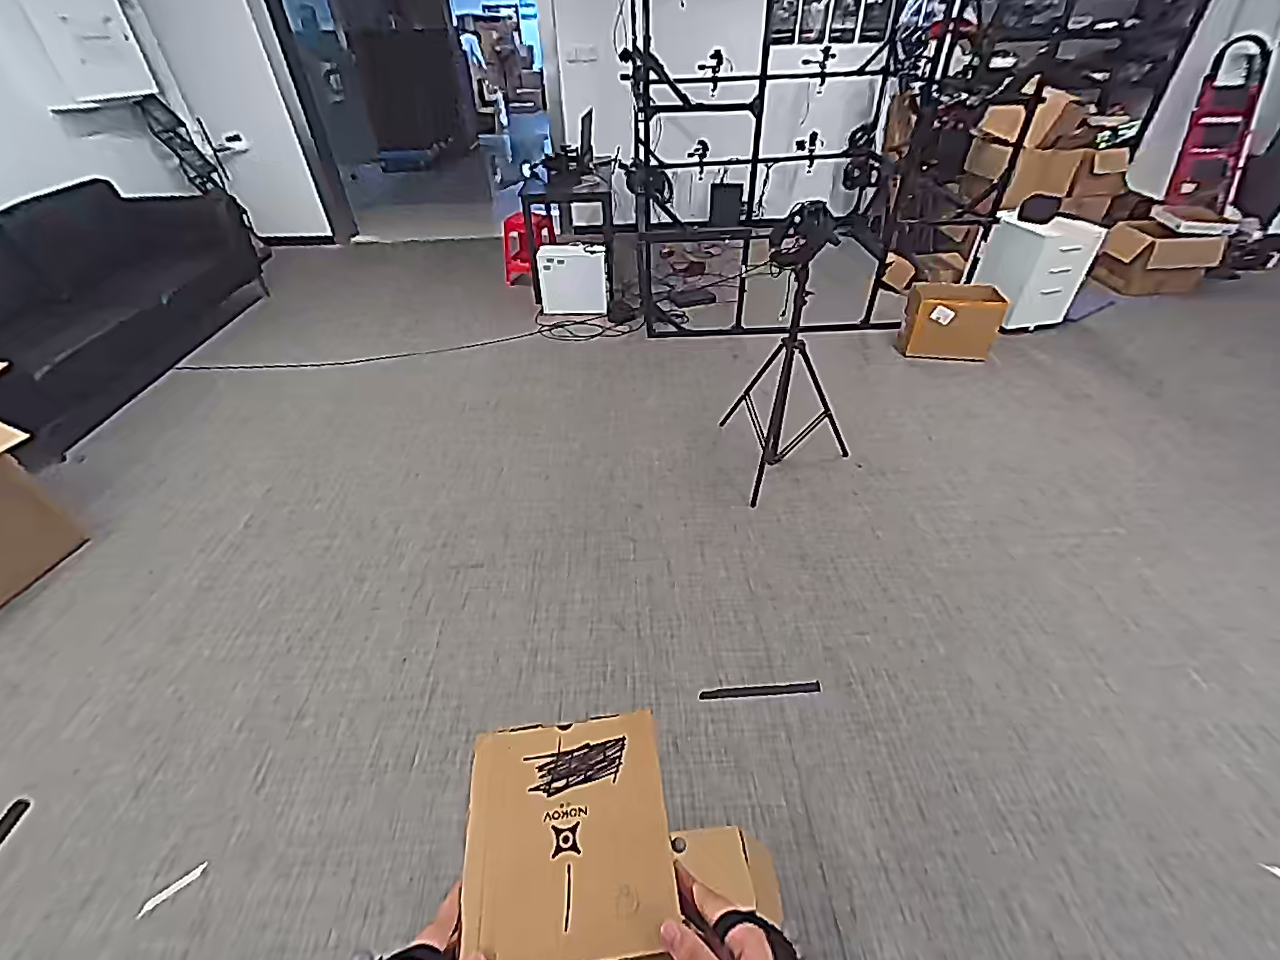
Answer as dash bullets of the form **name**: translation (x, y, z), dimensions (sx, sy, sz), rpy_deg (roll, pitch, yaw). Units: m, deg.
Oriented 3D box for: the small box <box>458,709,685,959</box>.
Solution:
- **small box**: translation (-0.055, 0.343, 0.501), dimensions (0.168, 0.176, 0.179), rpy_deg (-7, 43, -4)
